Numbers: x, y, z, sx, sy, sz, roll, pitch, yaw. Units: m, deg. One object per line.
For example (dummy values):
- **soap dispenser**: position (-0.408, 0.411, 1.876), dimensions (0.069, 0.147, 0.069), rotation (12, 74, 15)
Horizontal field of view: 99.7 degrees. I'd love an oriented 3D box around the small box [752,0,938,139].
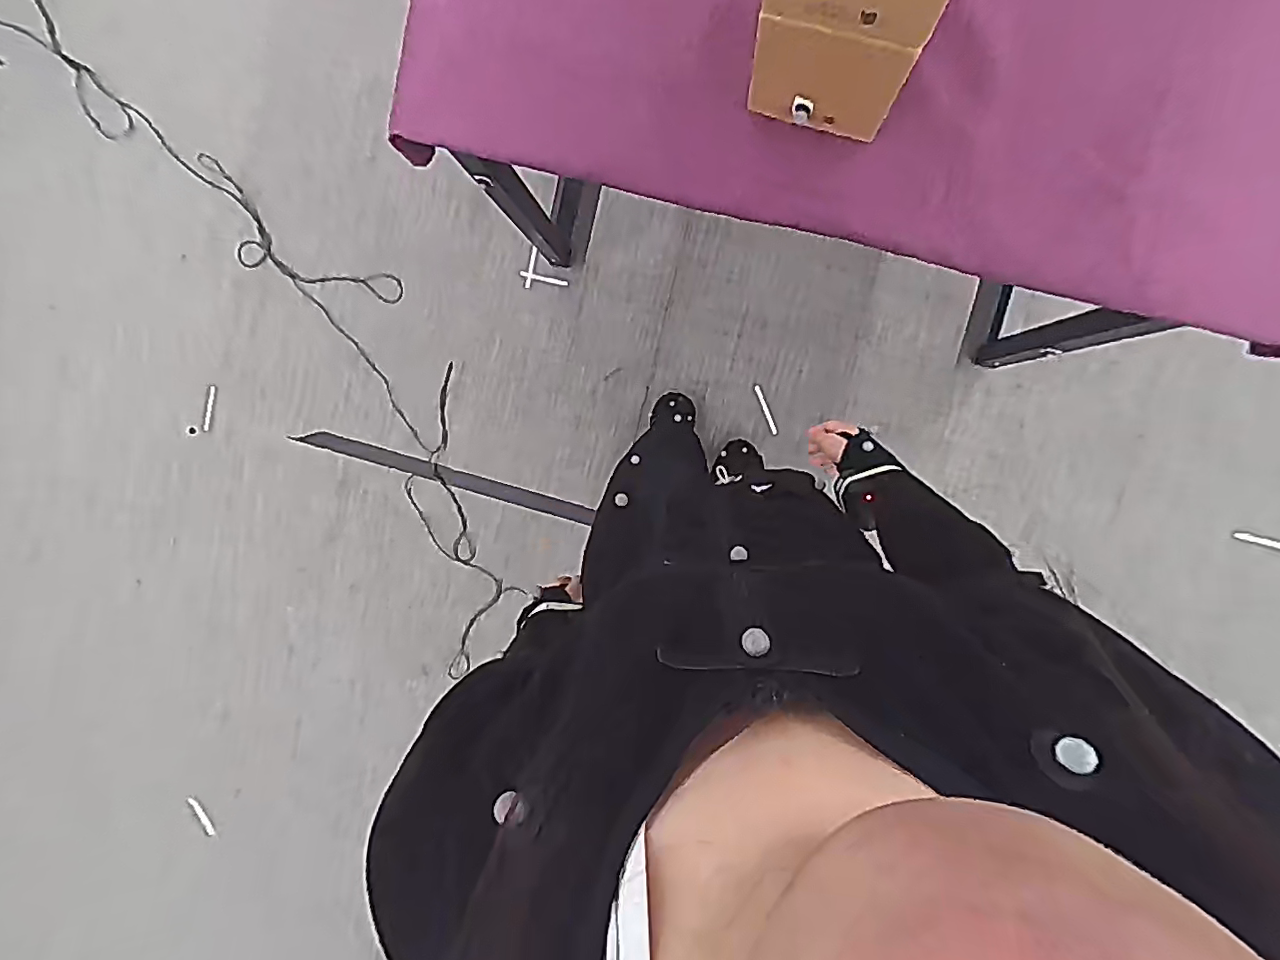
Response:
- **small box**: position (0.231, -0.531, 0.607), dimensions (0.168, 0.176, 0.179), rotation (17, 97, 5)
